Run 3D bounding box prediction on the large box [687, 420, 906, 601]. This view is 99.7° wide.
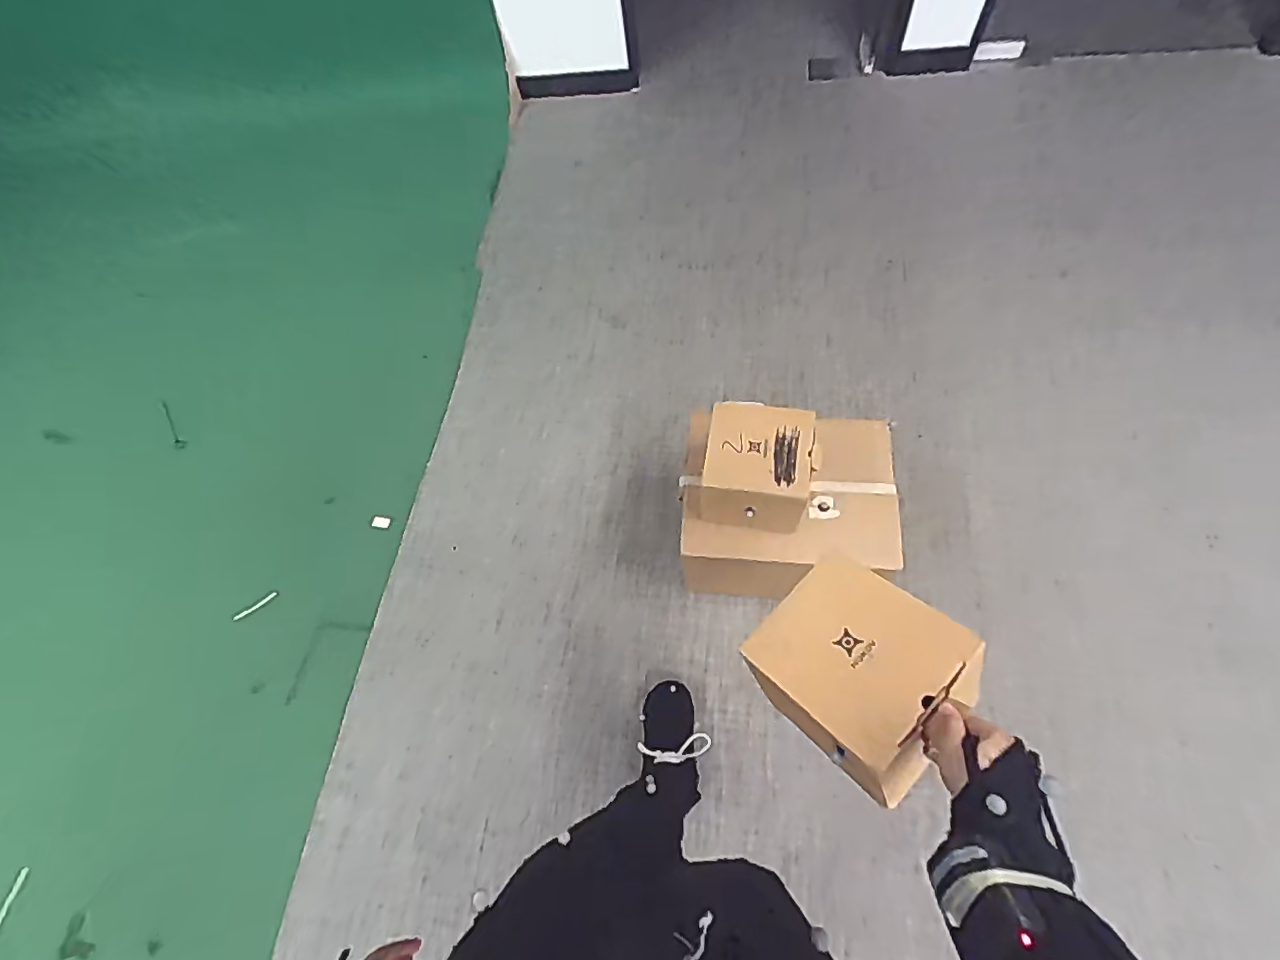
[{"bbox_3d":[0.309,0.081,1.190,0.408,0.320,0.320,3,67,7],"label":"large box"}]

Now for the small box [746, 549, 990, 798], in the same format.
[{"bbox_3d":[0.252,0.217,0.606,0.168,0.176,0.179,-43,45,-12],"label":"small box"}]
